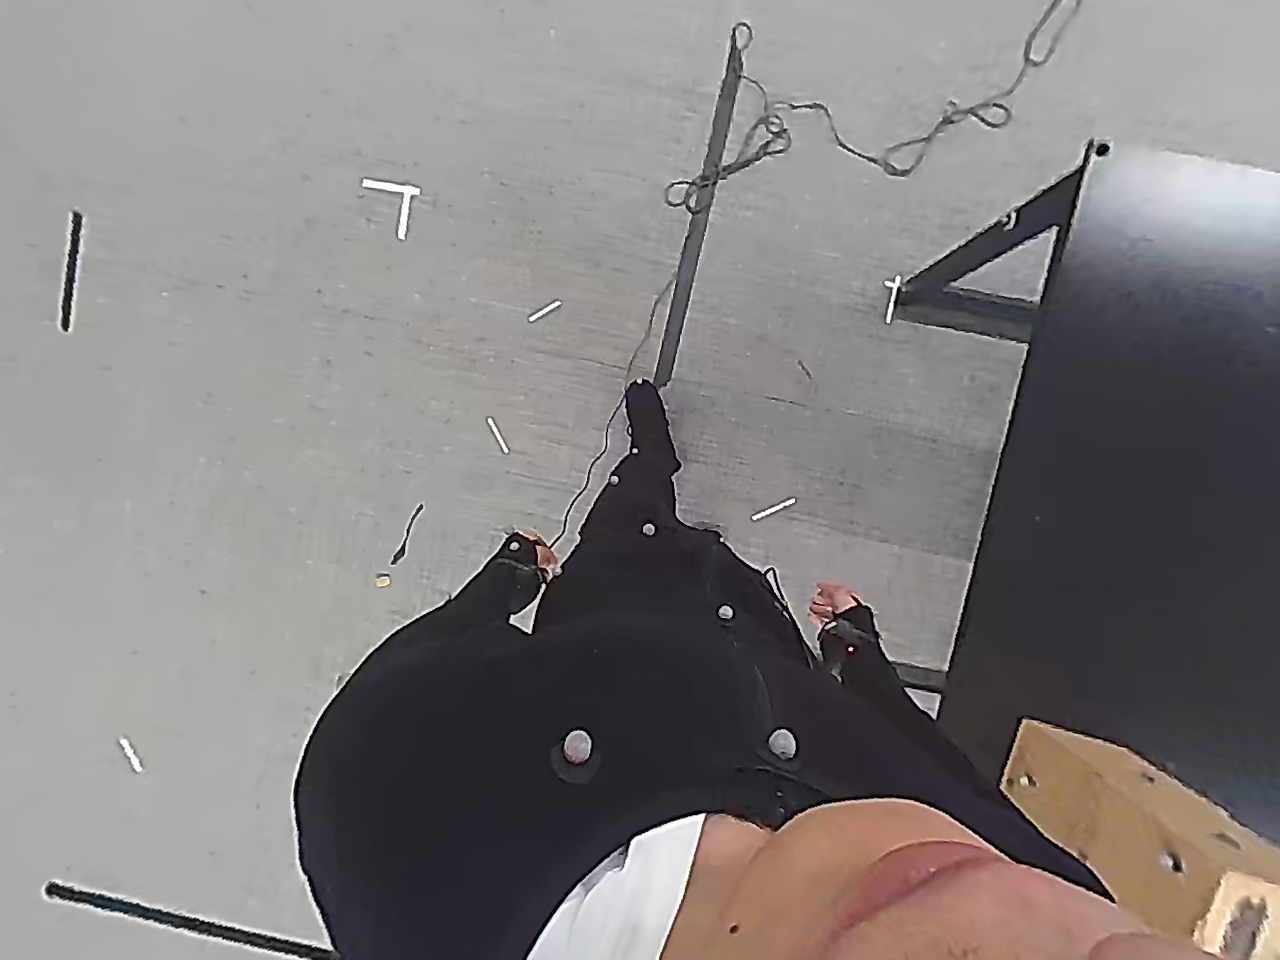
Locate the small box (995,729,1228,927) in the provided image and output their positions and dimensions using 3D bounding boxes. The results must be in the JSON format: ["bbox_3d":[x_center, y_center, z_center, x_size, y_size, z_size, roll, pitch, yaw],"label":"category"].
[{"bbox_3d":[0.693,0.508,0.817,0.179,0.176,0.168,17,93,1],"label":"small box"}]
